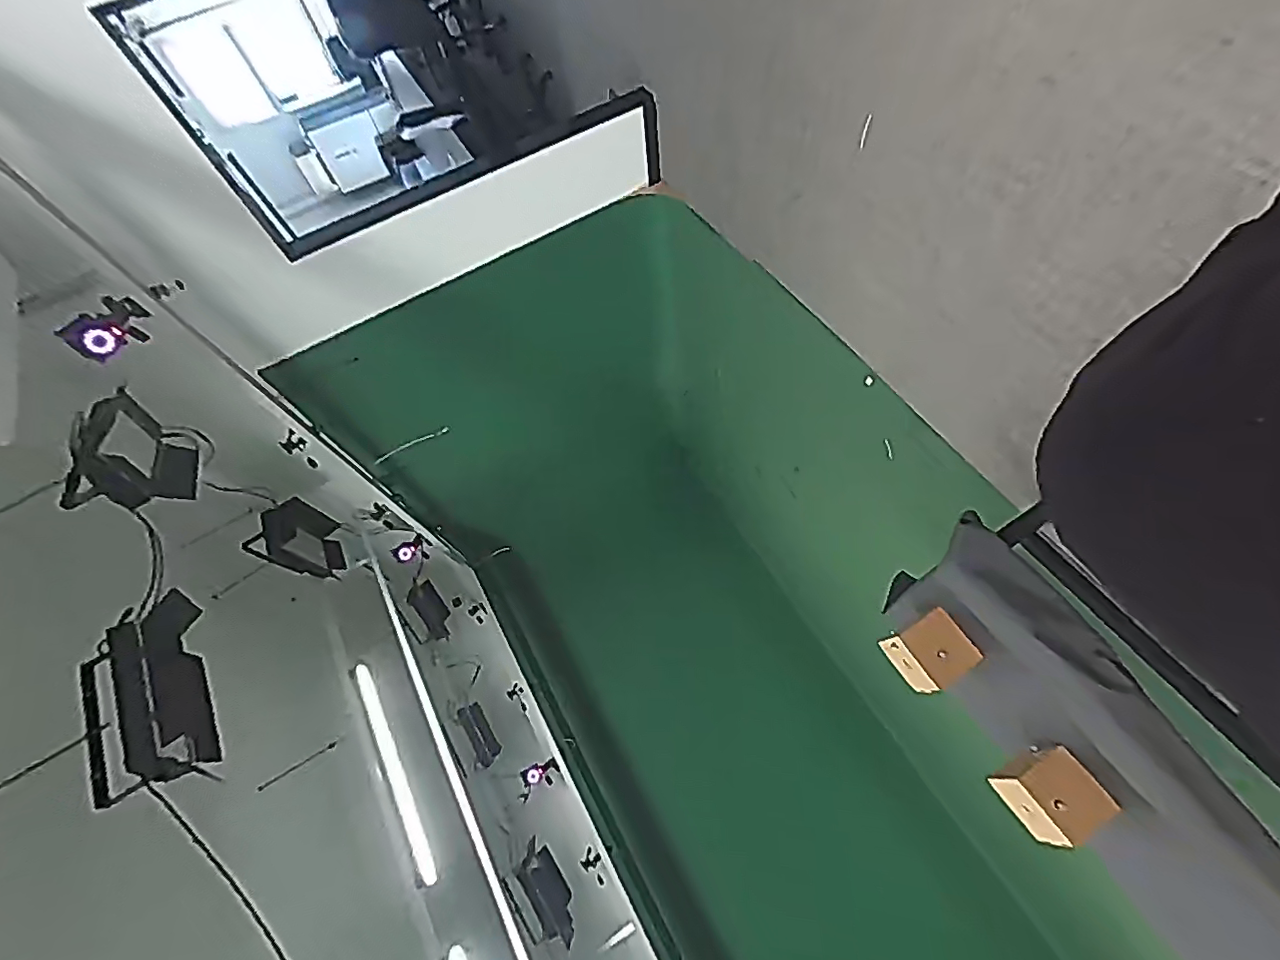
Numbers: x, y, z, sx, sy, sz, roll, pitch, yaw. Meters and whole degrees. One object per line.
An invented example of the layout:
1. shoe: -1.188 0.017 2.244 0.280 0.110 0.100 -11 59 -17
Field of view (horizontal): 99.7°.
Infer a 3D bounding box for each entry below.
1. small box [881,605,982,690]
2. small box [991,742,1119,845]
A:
1. small box: 0.872 0.503 1.620 0.179 0.176 0.168 55 169 20
2. small box: 1.101 0.827 1.439 0.179 0.176 0.168 56 168 27
